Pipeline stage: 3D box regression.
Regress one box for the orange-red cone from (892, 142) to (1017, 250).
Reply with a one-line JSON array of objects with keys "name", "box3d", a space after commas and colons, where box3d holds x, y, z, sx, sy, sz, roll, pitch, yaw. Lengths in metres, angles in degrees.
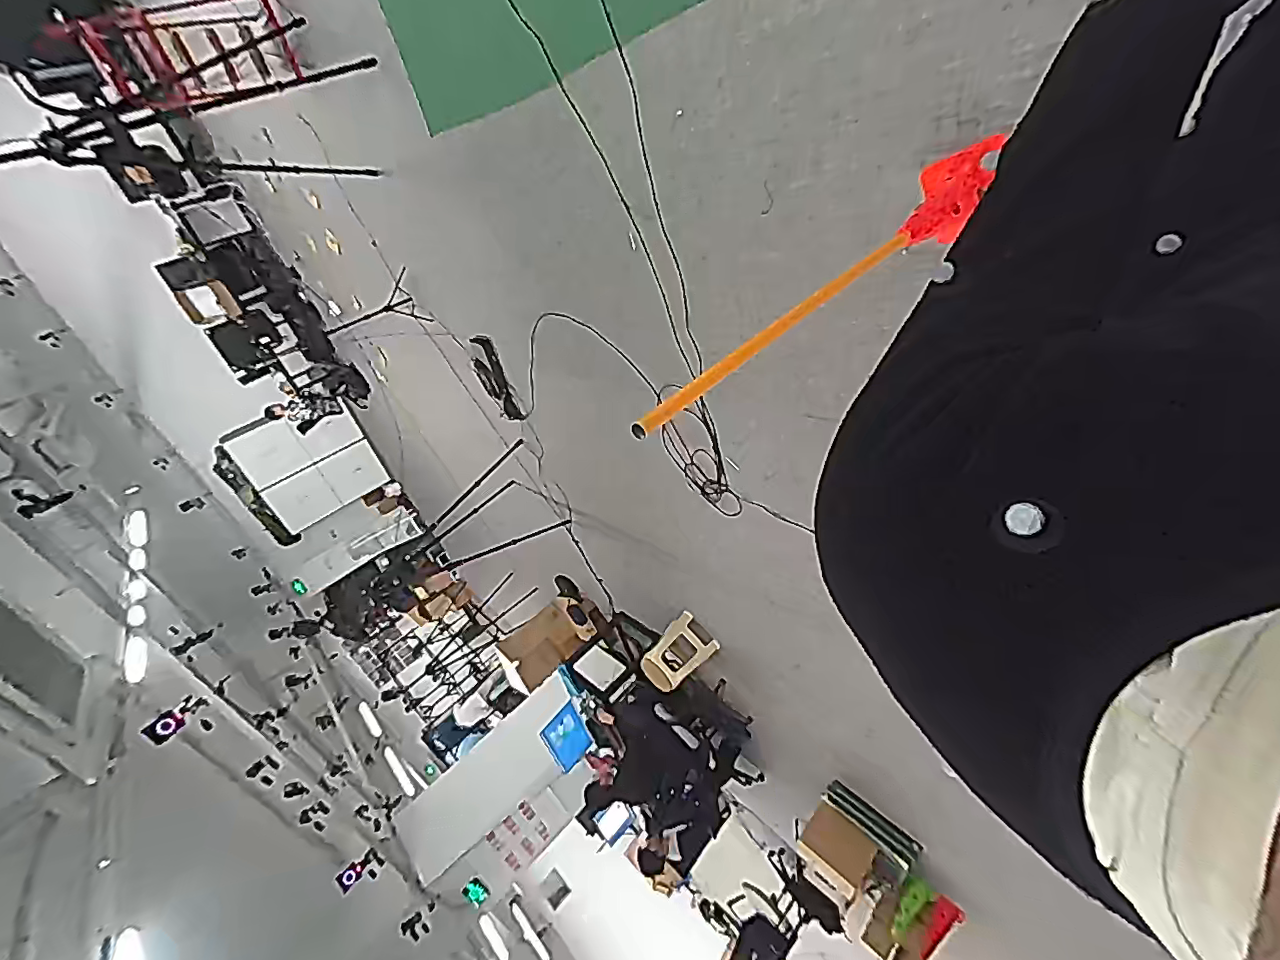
[{"name": "orange-red cone", "box3d": [0.692, -0.612, 1.263, 0.199, 0.360, 0.198, 4, 124, 56]}]
